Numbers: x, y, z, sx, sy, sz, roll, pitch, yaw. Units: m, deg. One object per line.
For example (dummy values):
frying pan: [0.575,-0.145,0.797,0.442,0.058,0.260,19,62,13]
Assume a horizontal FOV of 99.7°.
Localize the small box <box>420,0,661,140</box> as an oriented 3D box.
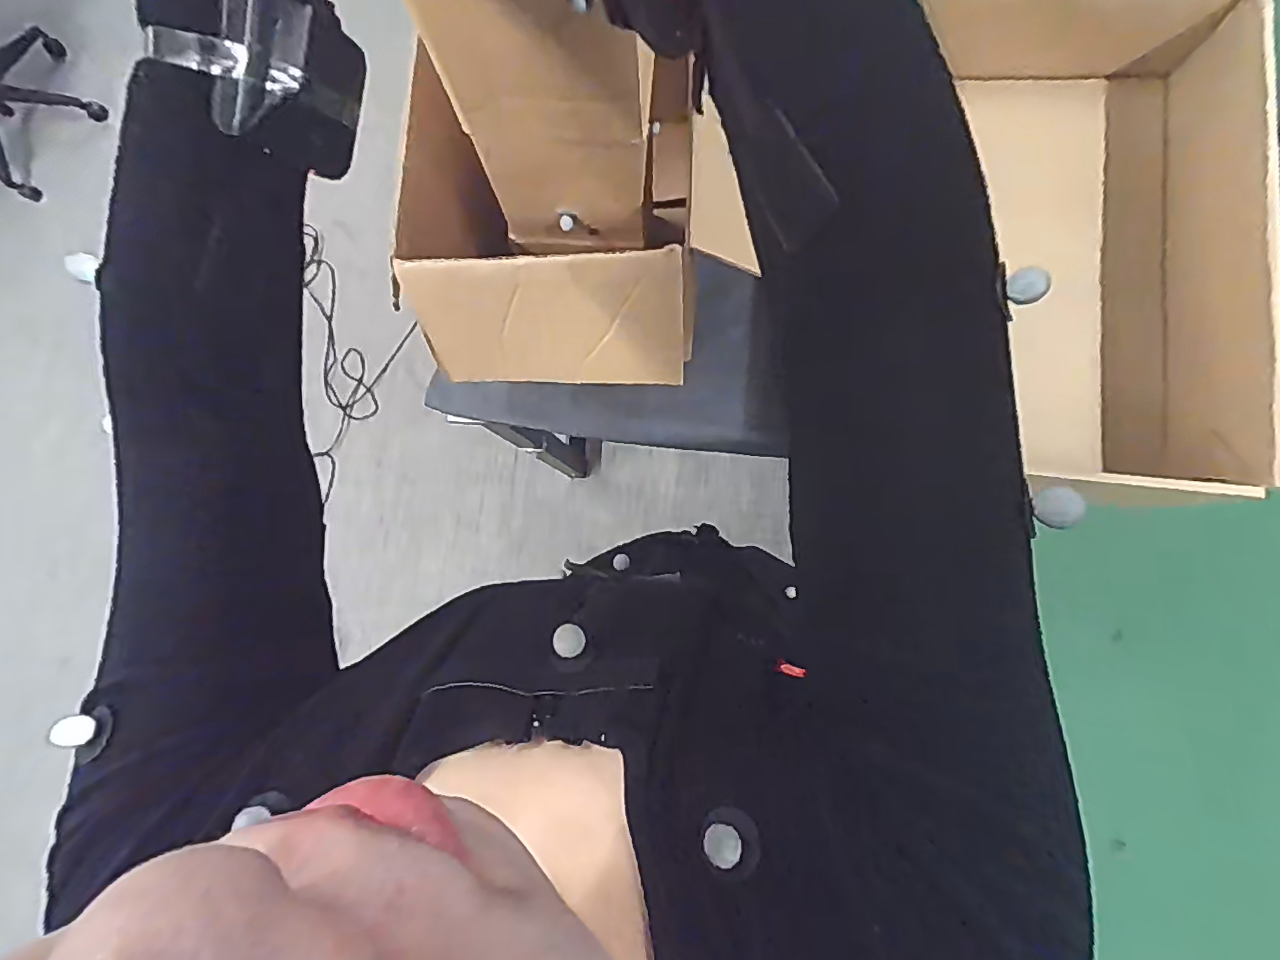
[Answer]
small box: [-0.076,-0.415,0.444,0.179,0.176,0.168,5,82,2]
